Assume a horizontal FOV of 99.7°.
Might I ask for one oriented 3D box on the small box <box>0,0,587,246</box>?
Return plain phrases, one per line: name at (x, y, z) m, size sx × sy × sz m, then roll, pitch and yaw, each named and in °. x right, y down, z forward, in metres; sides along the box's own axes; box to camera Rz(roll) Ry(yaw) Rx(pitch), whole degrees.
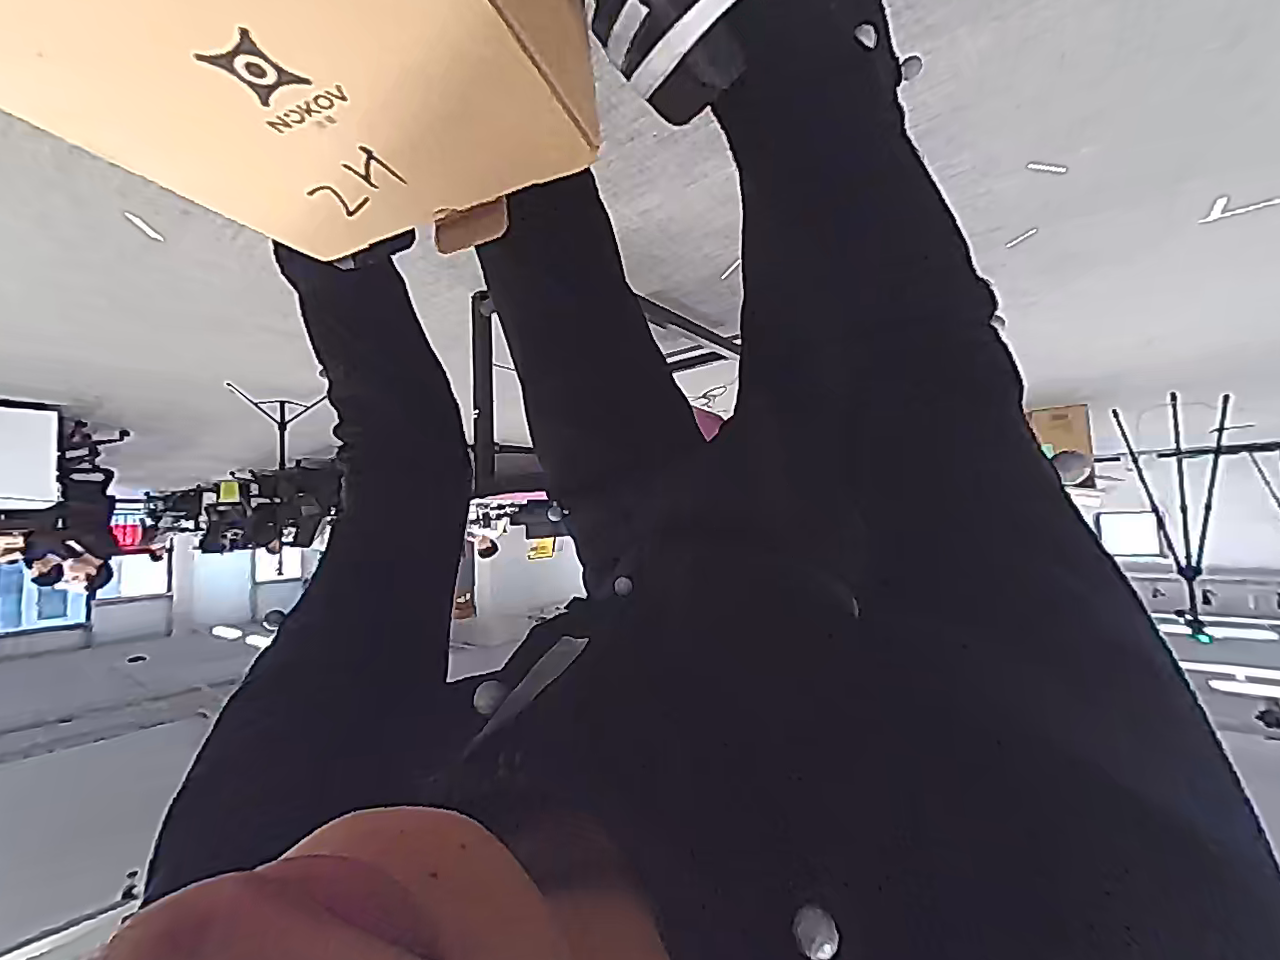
small box at (-0.135, -0.218, 0.186) m, size 0.168 × 0.176 × 0.179 m, roll -8°, pitch 176°, yaw 20°
